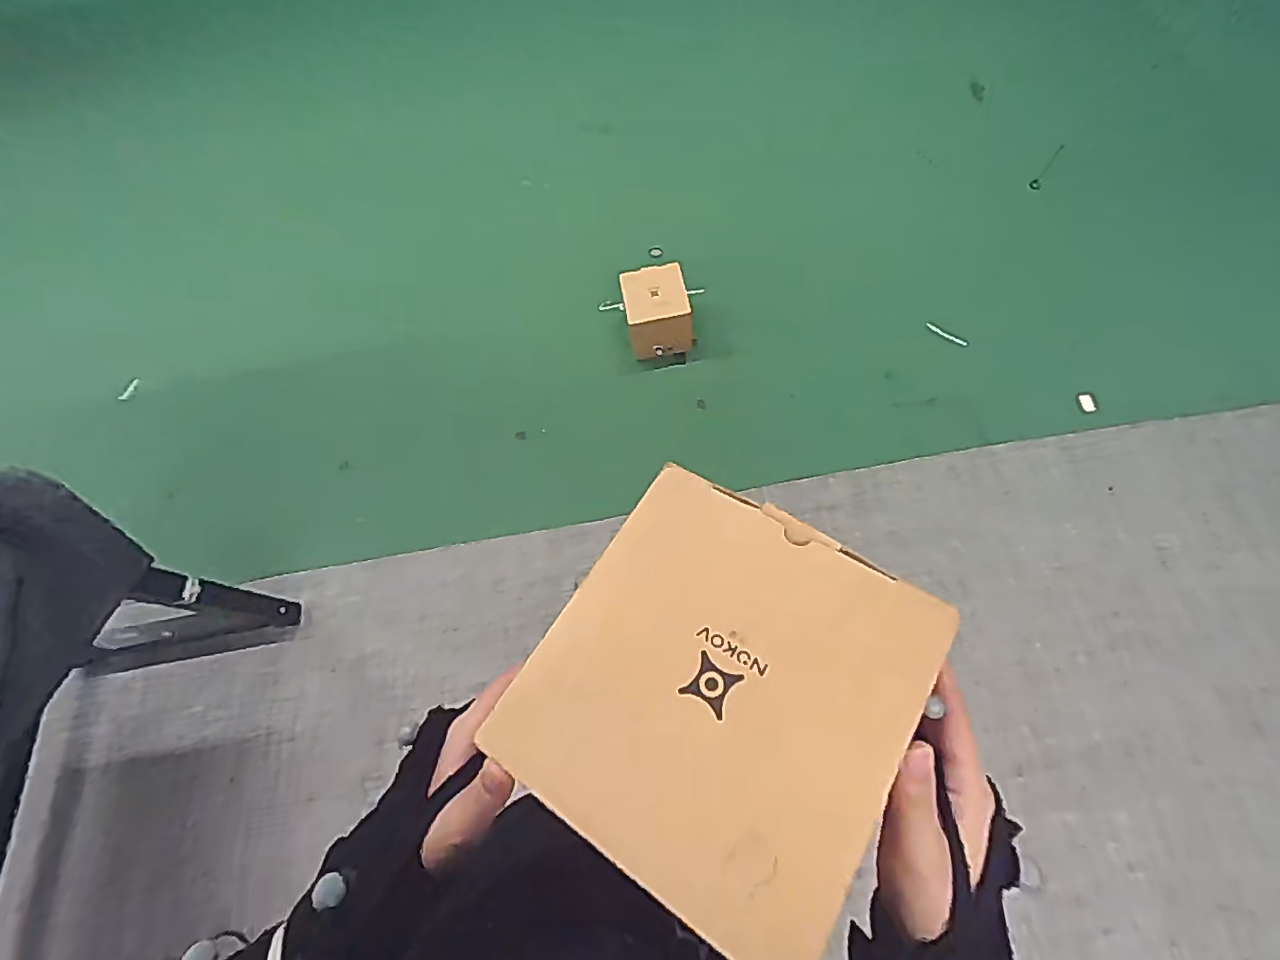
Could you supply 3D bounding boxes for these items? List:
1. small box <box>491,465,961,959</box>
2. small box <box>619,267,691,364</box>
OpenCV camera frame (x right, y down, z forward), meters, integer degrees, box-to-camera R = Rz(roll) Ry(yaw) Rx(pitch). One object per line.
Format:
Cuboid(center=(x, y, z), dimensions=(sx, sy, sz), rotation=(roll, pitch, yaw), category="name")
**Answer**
Cuboid(center=(0.051, 0.129, 0.324), dimensions=(0.168, 0.176, 0.179), rotation=(27, 67, 21), category="small box")
Cuboid(center=(0.043, -0.449, 1.492), dimensions=(0.168, 0.176, 0.179), rotation=(-11, 67, 1), category="small box")
